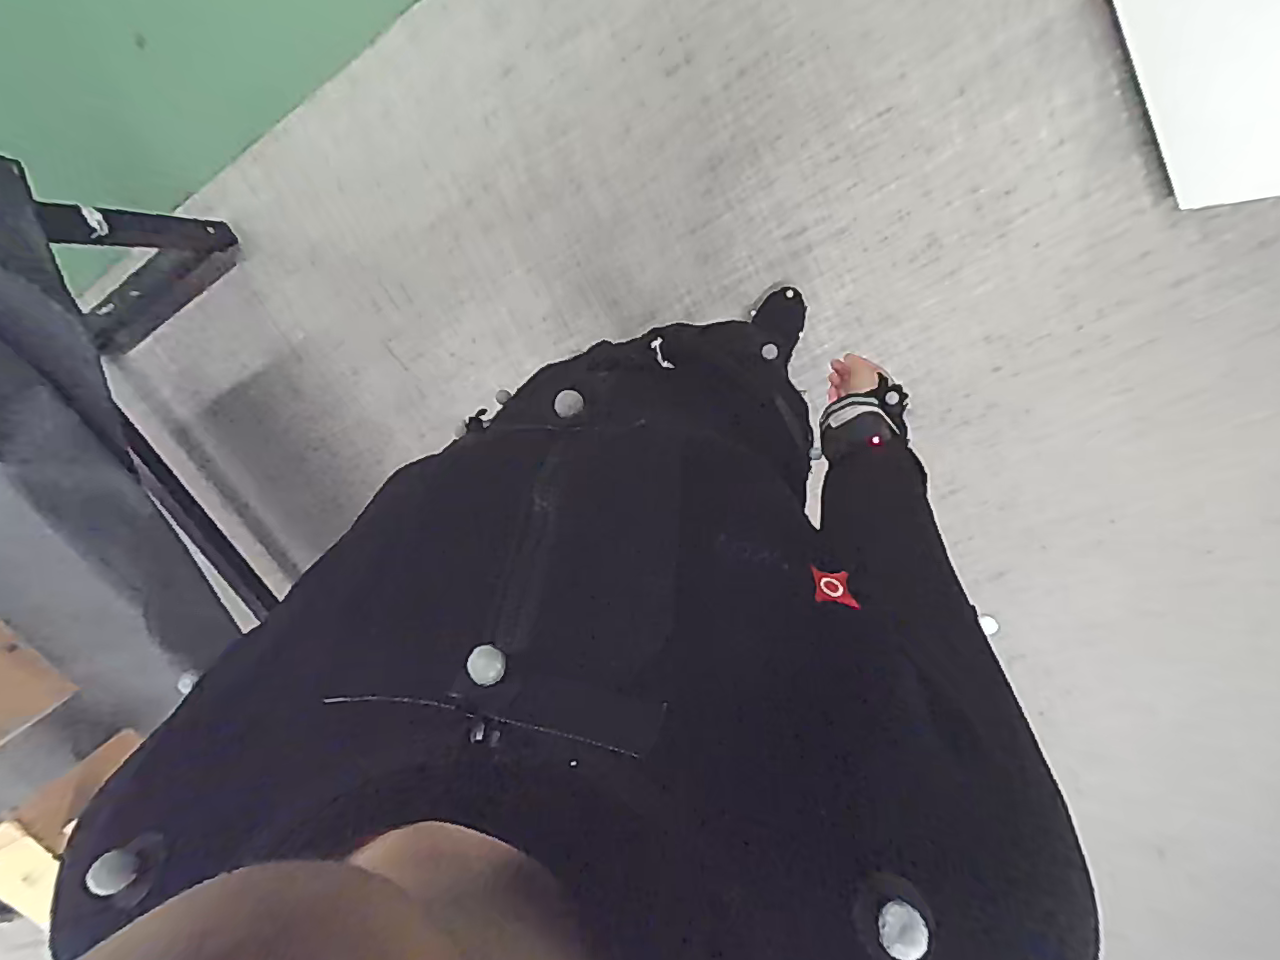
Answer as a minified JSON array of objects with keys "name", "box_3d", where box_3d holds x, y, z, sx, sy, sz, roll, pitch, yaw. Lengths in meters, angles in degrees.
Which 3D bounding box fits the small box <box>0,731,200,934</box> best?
[{"name":"small box","box_3d":[-0.838,0.530,0.827,0.179,0.176,0.168,-38,101,18]}]
